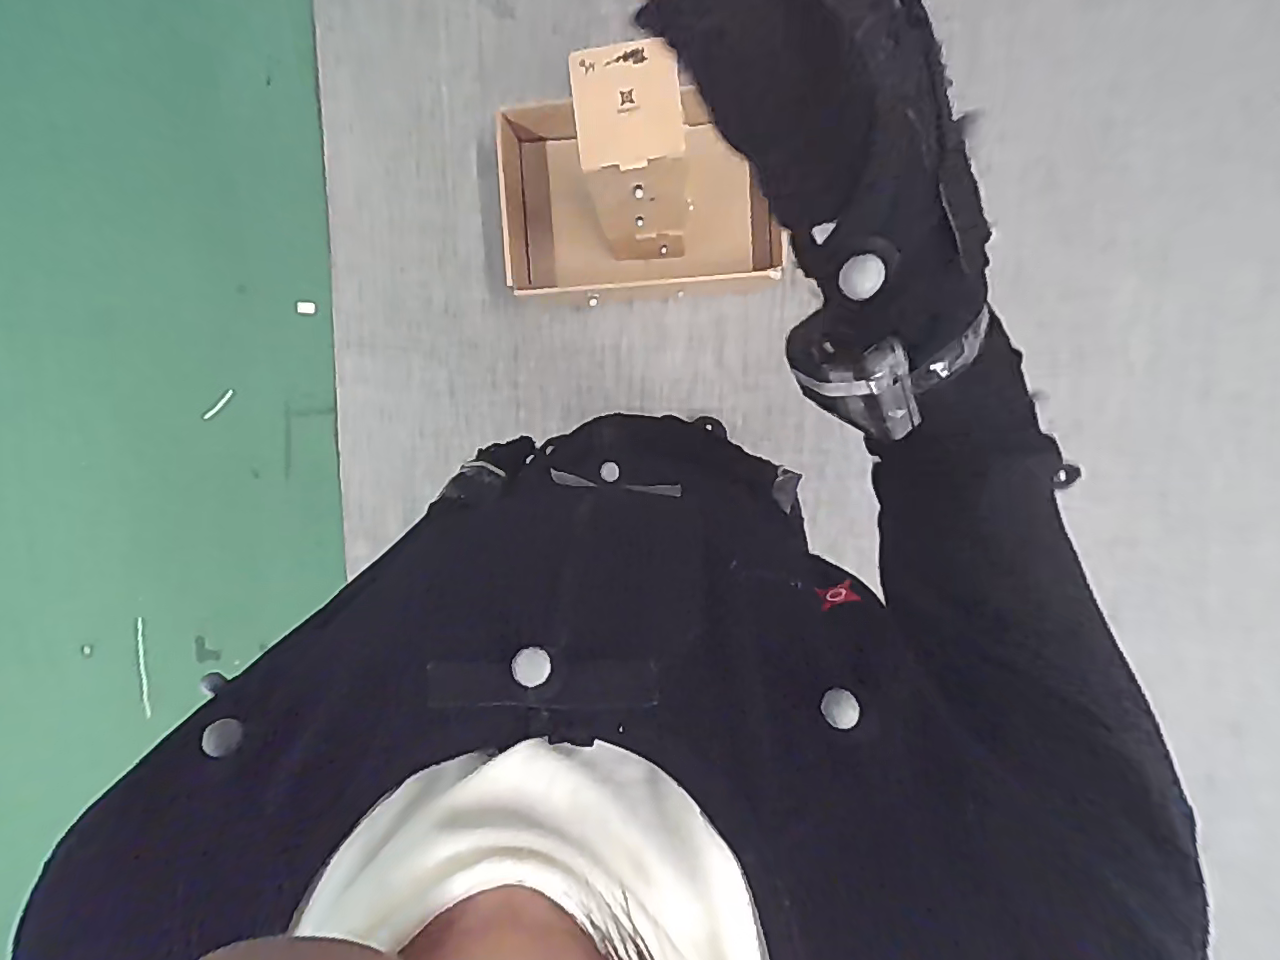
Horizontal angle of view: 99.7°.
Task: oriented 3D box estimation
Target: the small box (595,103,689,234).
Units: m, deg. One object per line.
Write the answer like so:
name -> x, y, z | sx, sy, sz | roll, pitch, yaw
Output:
small box -> -0.001, -0.606, 1.069 | 0.179, 0.176, 0.168 | -6, 97, 4

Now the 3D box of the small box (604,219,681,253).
small box -> 0.009, -0.627, 1.231 | 0.168, 0.176, 0.179 | -1, 95, 4

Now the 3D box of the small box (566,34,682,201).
small box -> -0.019, -0.588, 0.907 | 0.168, 0.176, 0.179 | -5, 97, 5
